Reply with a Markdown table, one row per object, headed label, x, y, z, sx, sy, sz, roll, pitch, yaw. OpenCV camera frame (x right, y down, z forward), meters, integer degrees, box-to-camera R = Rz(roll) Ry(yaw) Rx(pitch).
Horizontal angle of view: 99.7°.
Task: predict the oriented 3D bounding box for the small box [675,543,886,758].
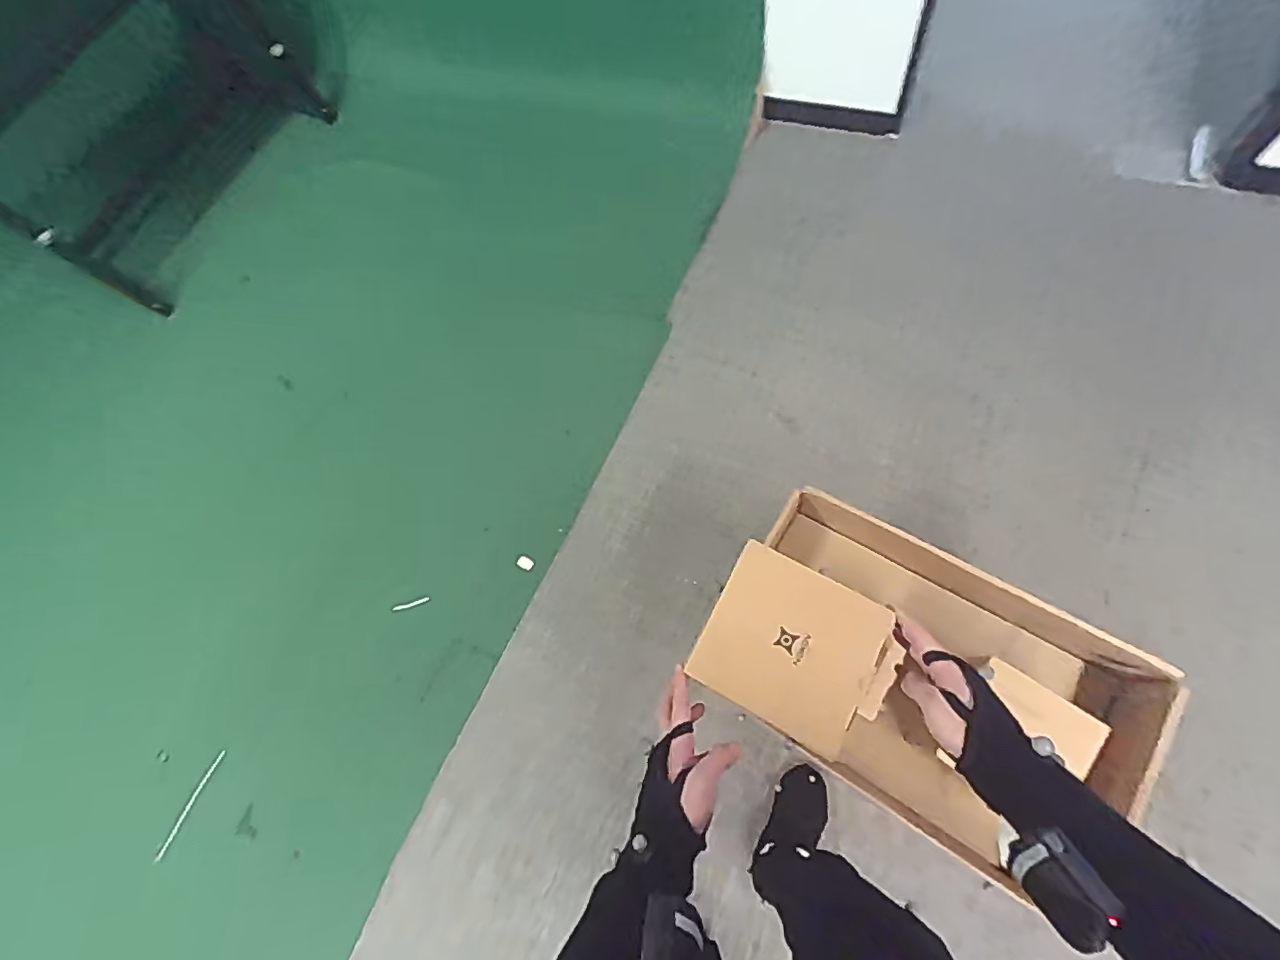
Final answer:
| label | x | y | z | sx | sy | sz | roll | pitch | yaw |
| --- | --- | --- | --- | --- | --- | --- | --- | --- | --- |
| small box | 0.156 | 0.198 | 0.654 | 0.179 | 0.176 | 0.168 | 27 | 79 | 11 |

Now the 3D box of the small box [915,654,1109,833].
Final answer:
| label | x | y | z | sx | sy | sz | roll | pitch | yaw |
| --- | --- | --- | --- | --- | --- | --- | --- | --- | --- |
| small box | 0.557 | 0.393 | 0.841 | 0.168 | 0.176 | 0.179 | 34 | 82 | 20 |
